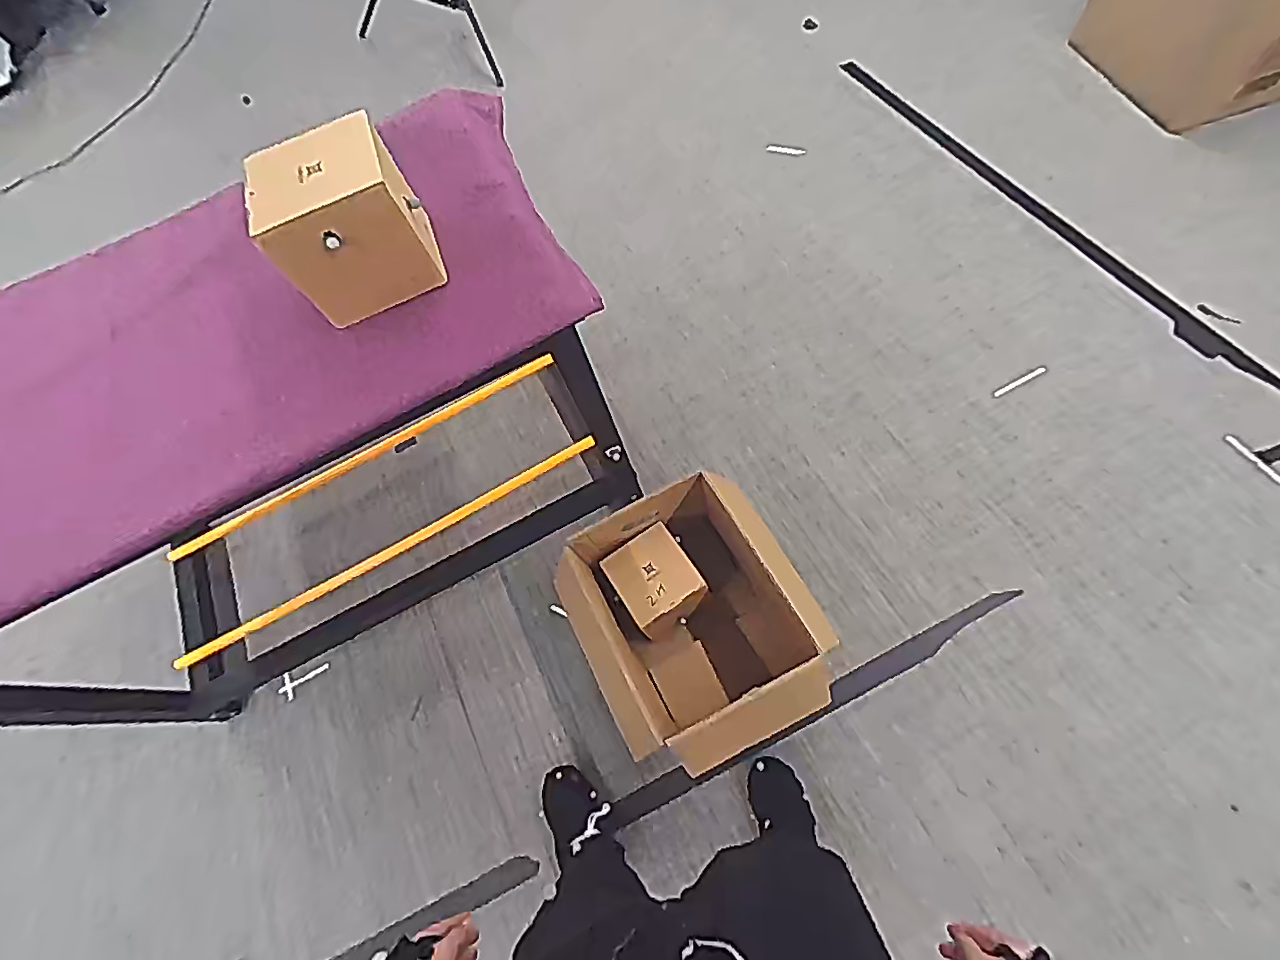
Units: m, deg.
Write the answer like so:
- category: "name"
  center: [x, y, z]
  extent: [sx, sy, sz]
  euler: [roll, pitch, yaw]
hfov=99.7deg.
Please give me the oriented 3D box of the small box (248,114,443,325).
- category: "small box"
  center: [-0.395, -0.352, 0.751]
  extent: [0.179, 0.176, 0.168]
  euler: [-24, 64, -1]
